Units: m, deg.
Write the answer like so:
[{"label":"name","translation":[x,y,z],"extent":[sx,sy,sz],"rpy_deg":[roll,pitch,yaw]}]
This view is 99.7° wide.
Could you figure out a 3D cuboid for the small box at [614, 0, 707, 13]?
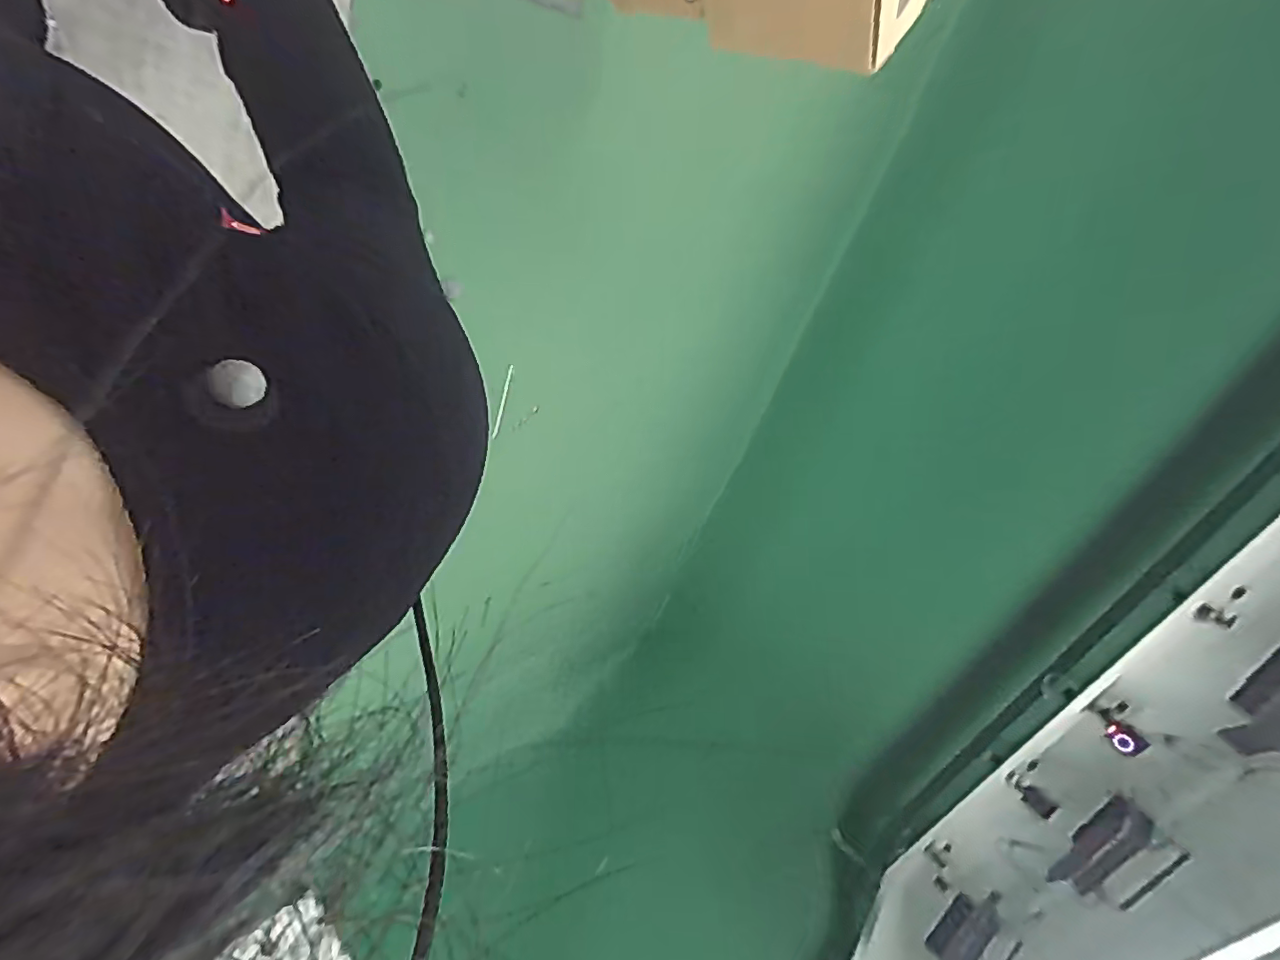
[{"label":"small box","translation":[0.039,-0.561,0.481],"extent":[0.168,0.176,0.179],"rpy_deg":[-58,152,3]}]
